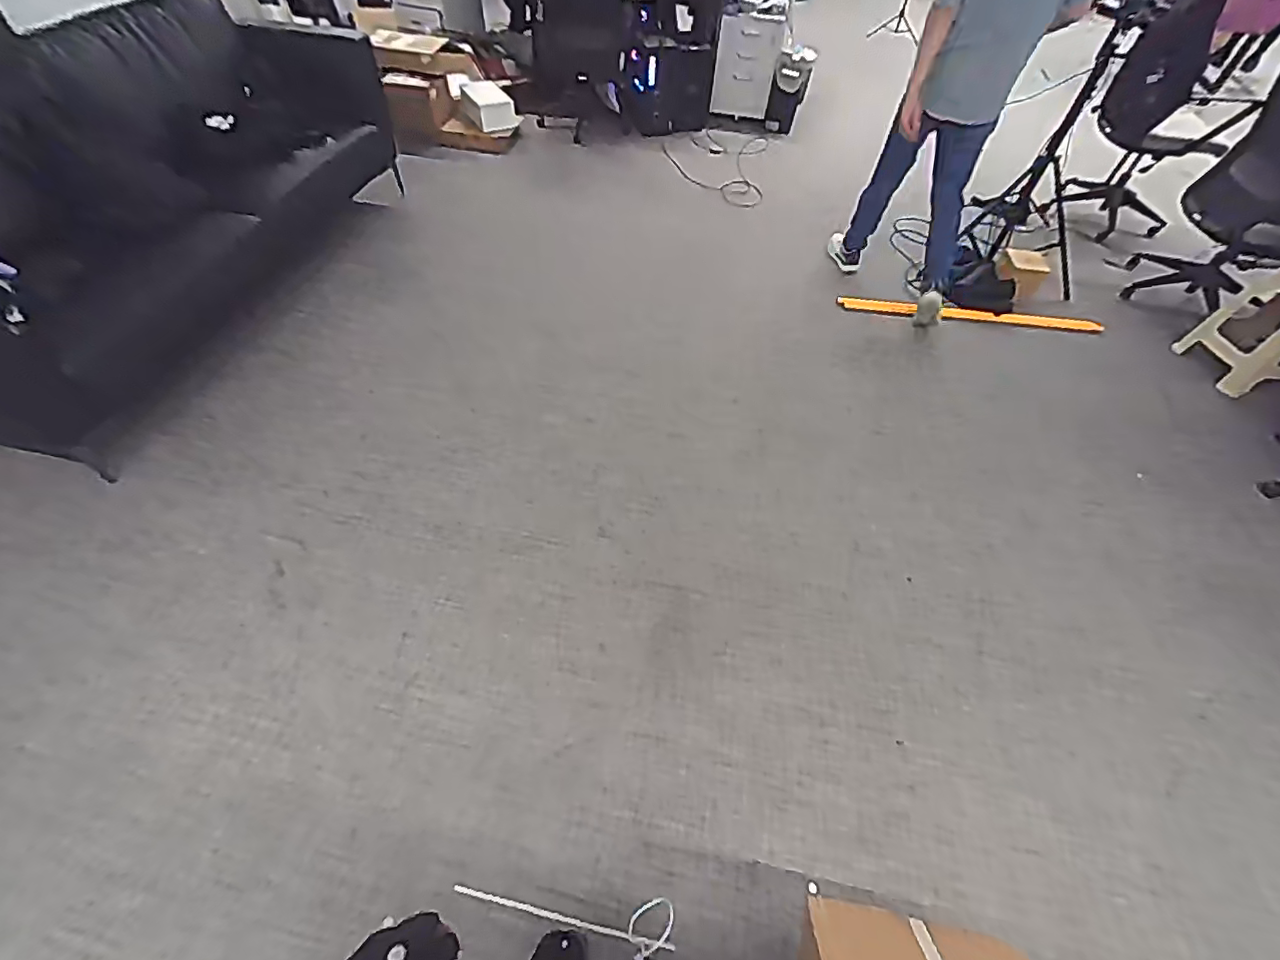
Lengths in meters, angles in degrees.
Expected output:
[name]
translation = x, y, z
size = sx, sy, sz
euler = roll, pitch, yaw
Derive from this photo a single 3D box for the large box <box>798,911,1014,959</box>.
[large box]
translation = 0.355, 0.819, 0.607
size = 0.320, 0.408, 0.320
euler = 9, 89, 7
